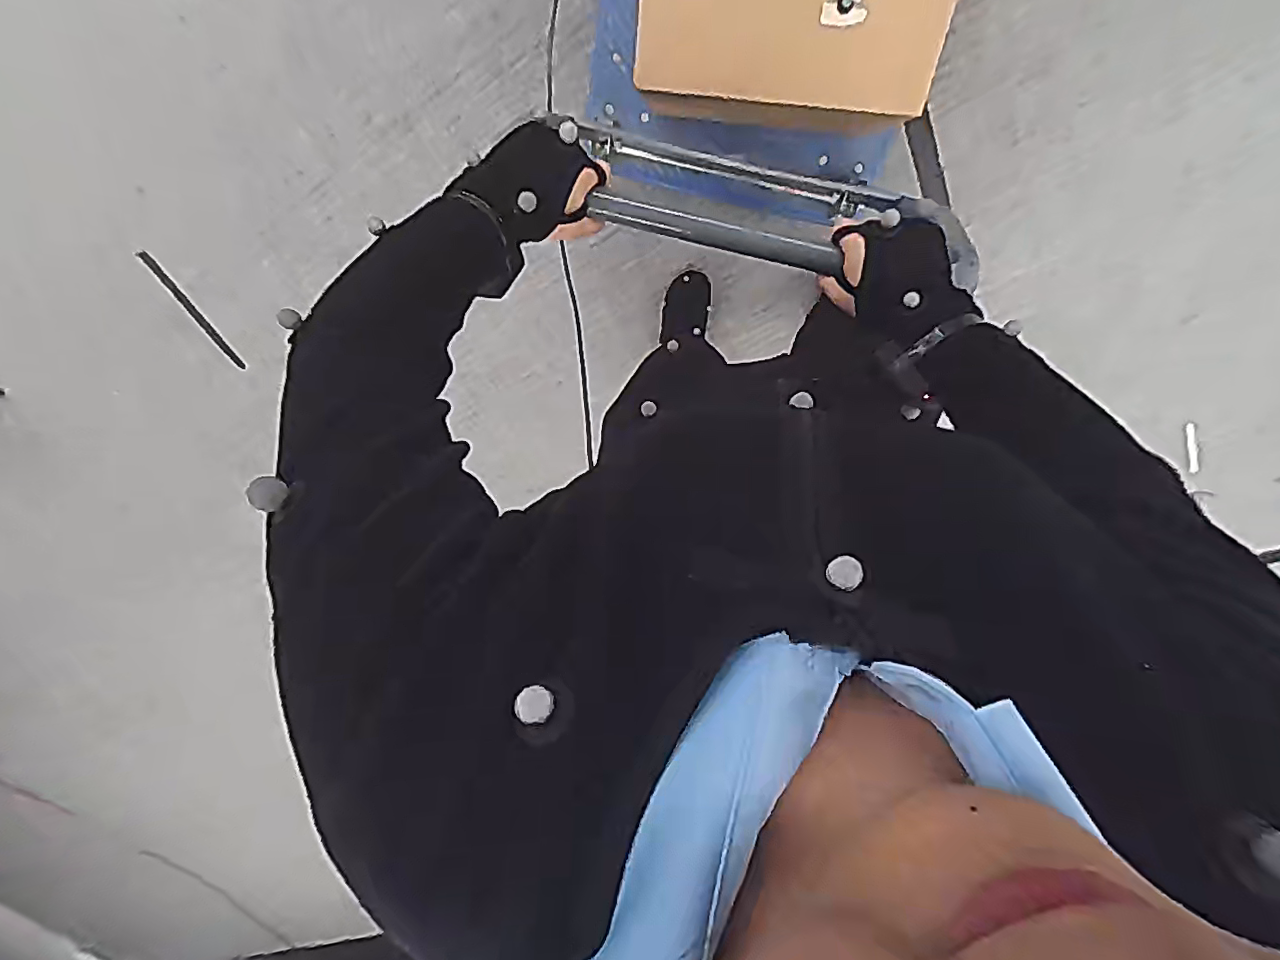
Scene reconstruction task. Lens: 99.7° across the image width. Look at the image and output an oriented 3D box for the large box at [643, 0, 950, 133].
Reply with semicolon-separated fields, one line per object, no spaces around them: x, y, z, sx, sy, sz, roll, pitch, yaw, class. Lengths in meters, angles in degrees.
0.222;-0.741;0.829;0.408;0.320;0.320;7;119;3;large box
